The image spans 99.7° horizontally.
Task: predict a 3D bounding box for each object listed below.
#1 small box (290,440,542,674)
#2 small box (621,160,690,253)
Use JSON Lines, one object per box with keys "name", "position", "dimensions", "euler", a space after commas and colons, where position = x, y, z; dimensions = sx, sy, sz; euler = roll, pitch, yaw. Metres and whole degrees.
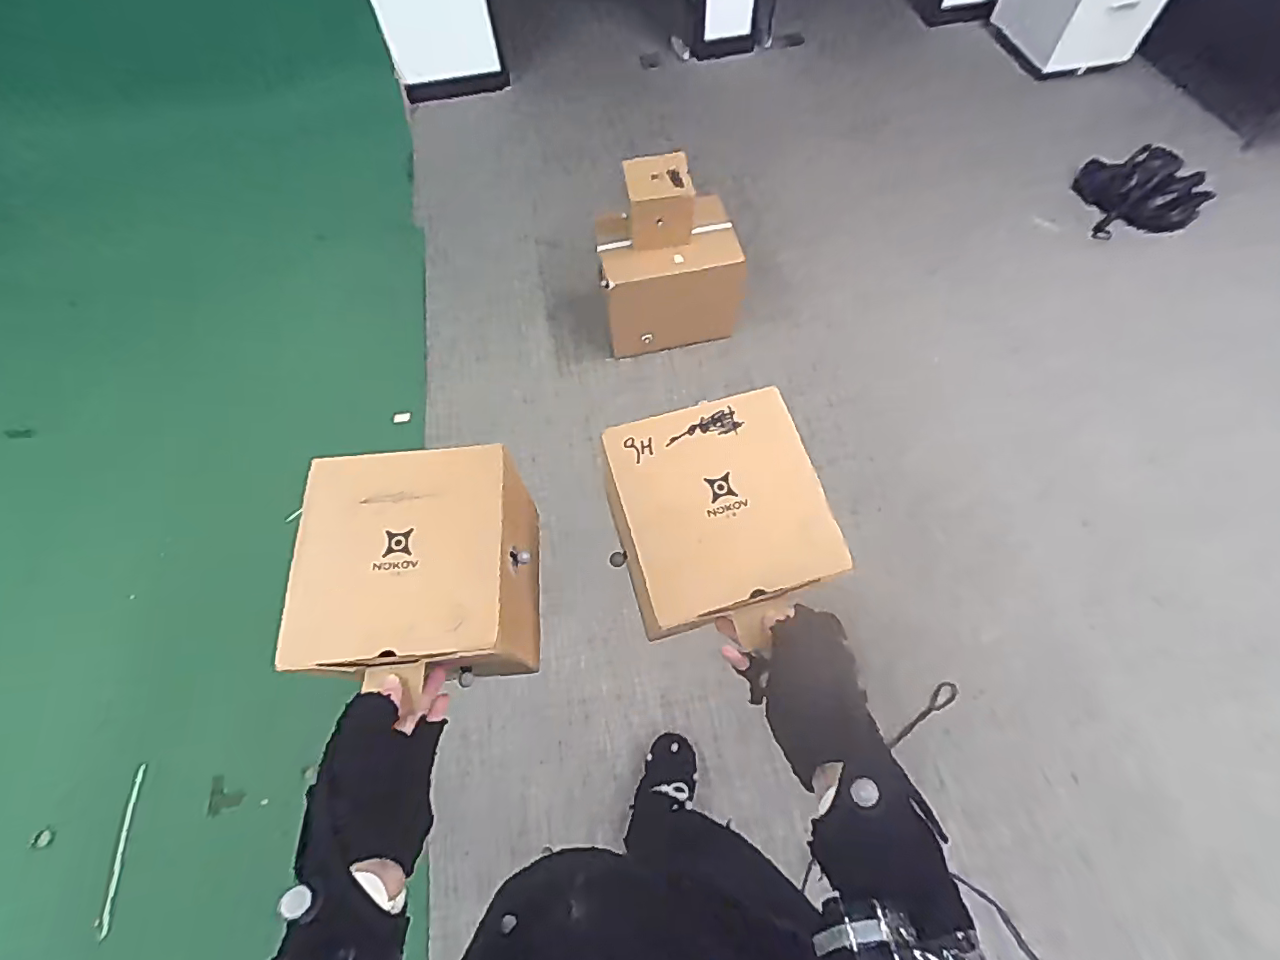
{"name": "small box", "position": [-0.188, 0.083, 0.512], "dimensions": [0.168, 0.176, 0.179], "euler": [-5, 64, -2]}
{"name": "small box", "position": [0.039, -0.771, 1.534], "dimensions": [0.179, 0.176, 0.168], "euler": [-5, 65, -1]}
